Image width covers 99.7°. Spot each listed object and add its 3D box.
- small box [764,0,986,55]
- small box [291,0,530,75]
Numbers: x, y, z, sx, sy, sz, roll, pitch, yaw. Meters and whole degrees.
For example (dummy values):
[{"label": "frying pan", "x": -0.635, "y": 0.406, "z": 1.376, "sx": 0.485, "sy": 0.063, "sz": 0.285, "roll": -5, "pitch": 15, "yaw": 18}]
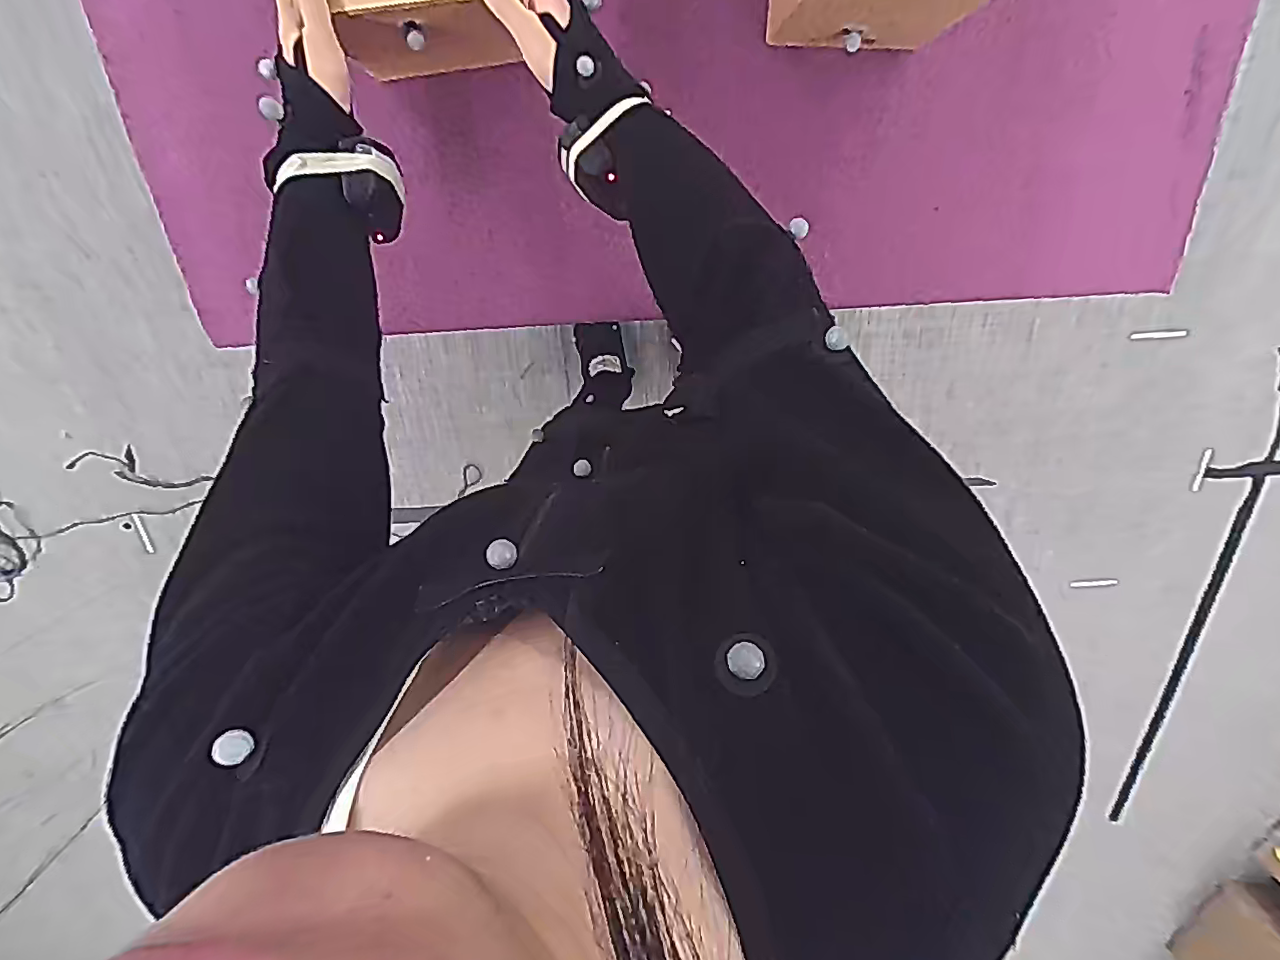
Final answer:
[{"label": "small box", "x": 0.215, "y": -0.510, "z": 0.474, "sx": 0.168, "sy": 0.176, "sz": 0.179, "roll": 0, "pitch": 114, "yaw": -3}, {"label": "small box", "x": -0.199, "y": -0.479, "z": 0.468, "sx": 0.179, "sy": 0.176, "sz": 0.168, "roll": -7, "pitch": 114, "yaw": 1}]
